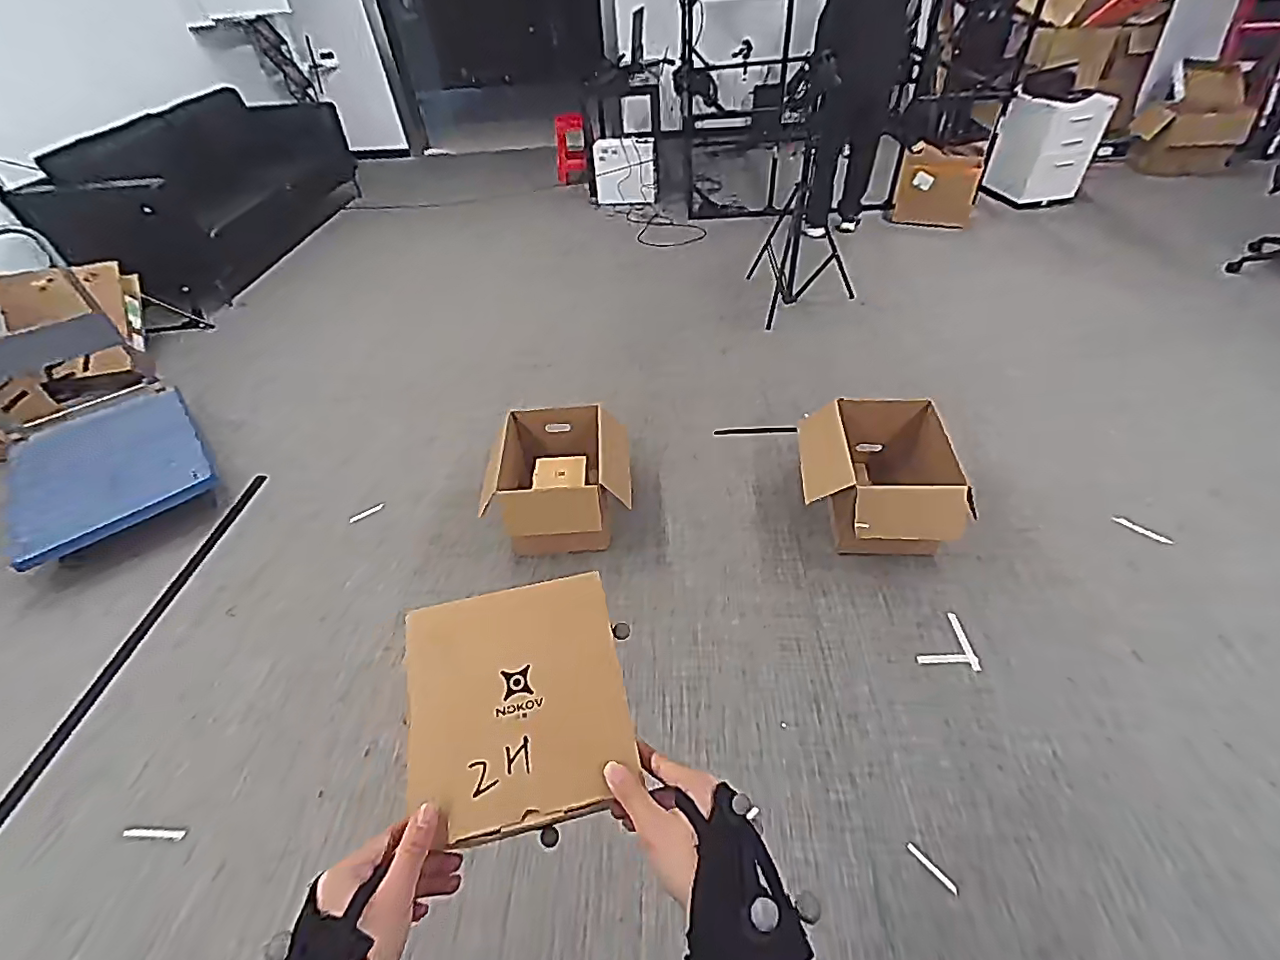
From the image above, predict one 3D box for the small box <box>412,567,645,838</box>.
[{"bbox_3d":[-0.097,0.204,0.490,0.168,0.176,0.179,-11,58,-9],"label":"small box"}]
